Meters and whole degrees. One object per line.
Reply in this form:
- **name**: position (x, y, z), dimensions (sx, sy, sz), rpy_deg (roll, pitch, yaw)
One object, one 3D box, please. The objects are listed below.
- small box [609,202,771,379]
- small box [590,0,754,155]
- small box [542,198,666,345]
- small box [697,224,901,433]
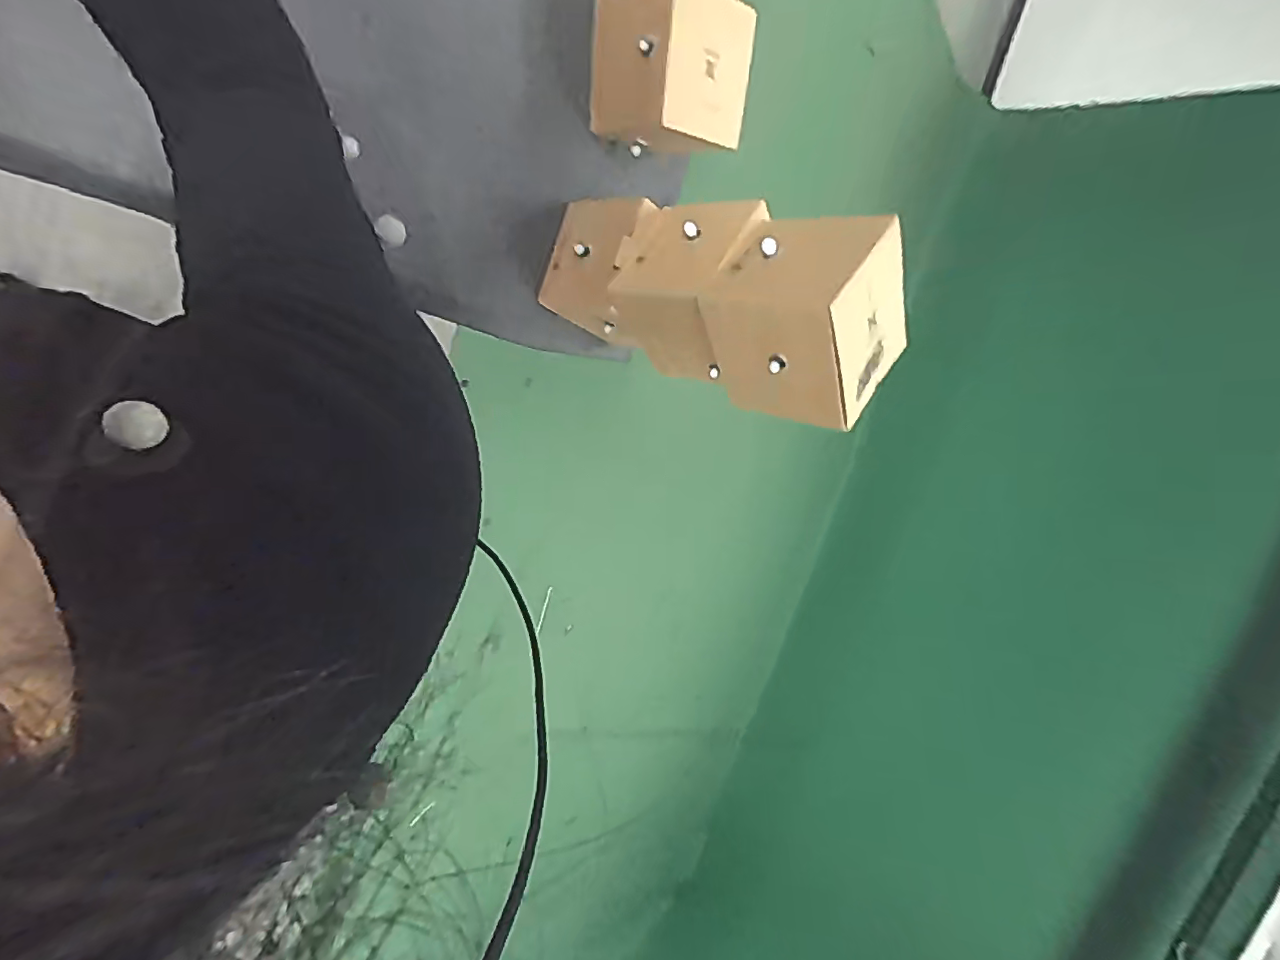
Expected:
- **small box**: position (0.087, -0.256, 0.762), dimensions (0.168, 0.176, 0.179), rpy_deg (-58, 139, -14)
- **small box**: position (0.040, -0.597, 0.800), dimensions (0.168, 0.176, 0.179), rpy_deg (-15, 121, -40)
- **small box**: position (-0.027, -0.318, 0.863), dimensions (0.179, 0.176, 0.168), rpy_deg (16, 94, -49)
- **small box**: position (0.197, -0.188, 0.658), dimensions (0.168, 0.176, 0.179), rpy_deg (-51, 137, -21)
